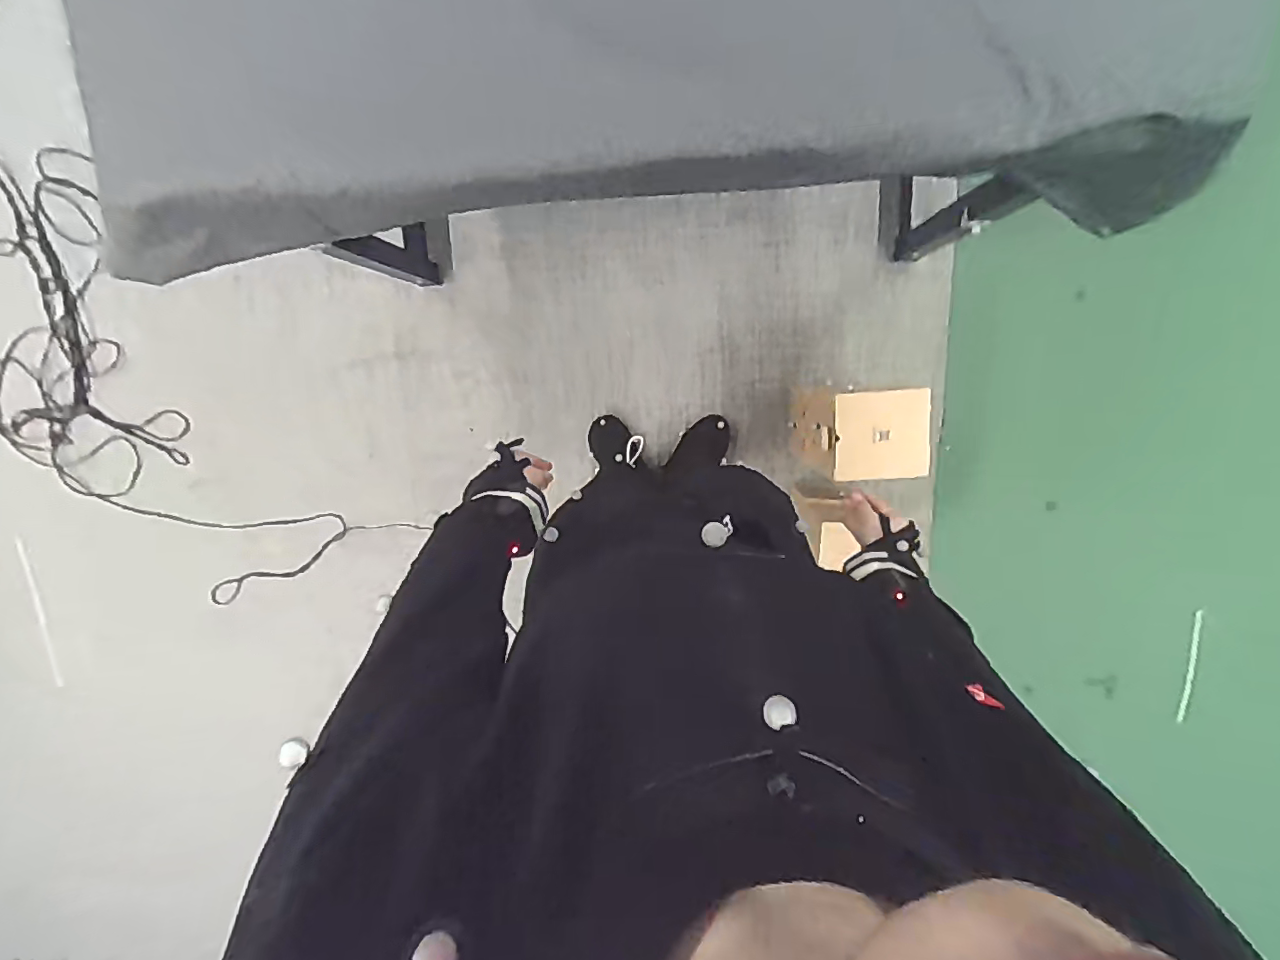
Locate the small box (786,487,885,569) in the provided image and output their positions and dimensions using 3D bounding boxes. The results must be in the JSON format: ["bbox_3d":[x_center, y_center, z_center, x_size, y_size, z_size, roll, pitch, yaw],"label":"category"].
[{"bbox_3d":[0.454,0.114,1.280,0.179,0.176,0.168,3,100,5],"label":"small box"}]

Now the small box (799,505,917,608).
[{"bbox_3d":[0.441,0.151,1.120,0.179,0.176,0.168,3,100,5],"label":"small box"}]

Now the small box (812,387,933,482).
[{"bbox_3d":[0.452,-0.096,1.073,0.179,0.176,0.168,-4,100,5],"label":"small box"}]
